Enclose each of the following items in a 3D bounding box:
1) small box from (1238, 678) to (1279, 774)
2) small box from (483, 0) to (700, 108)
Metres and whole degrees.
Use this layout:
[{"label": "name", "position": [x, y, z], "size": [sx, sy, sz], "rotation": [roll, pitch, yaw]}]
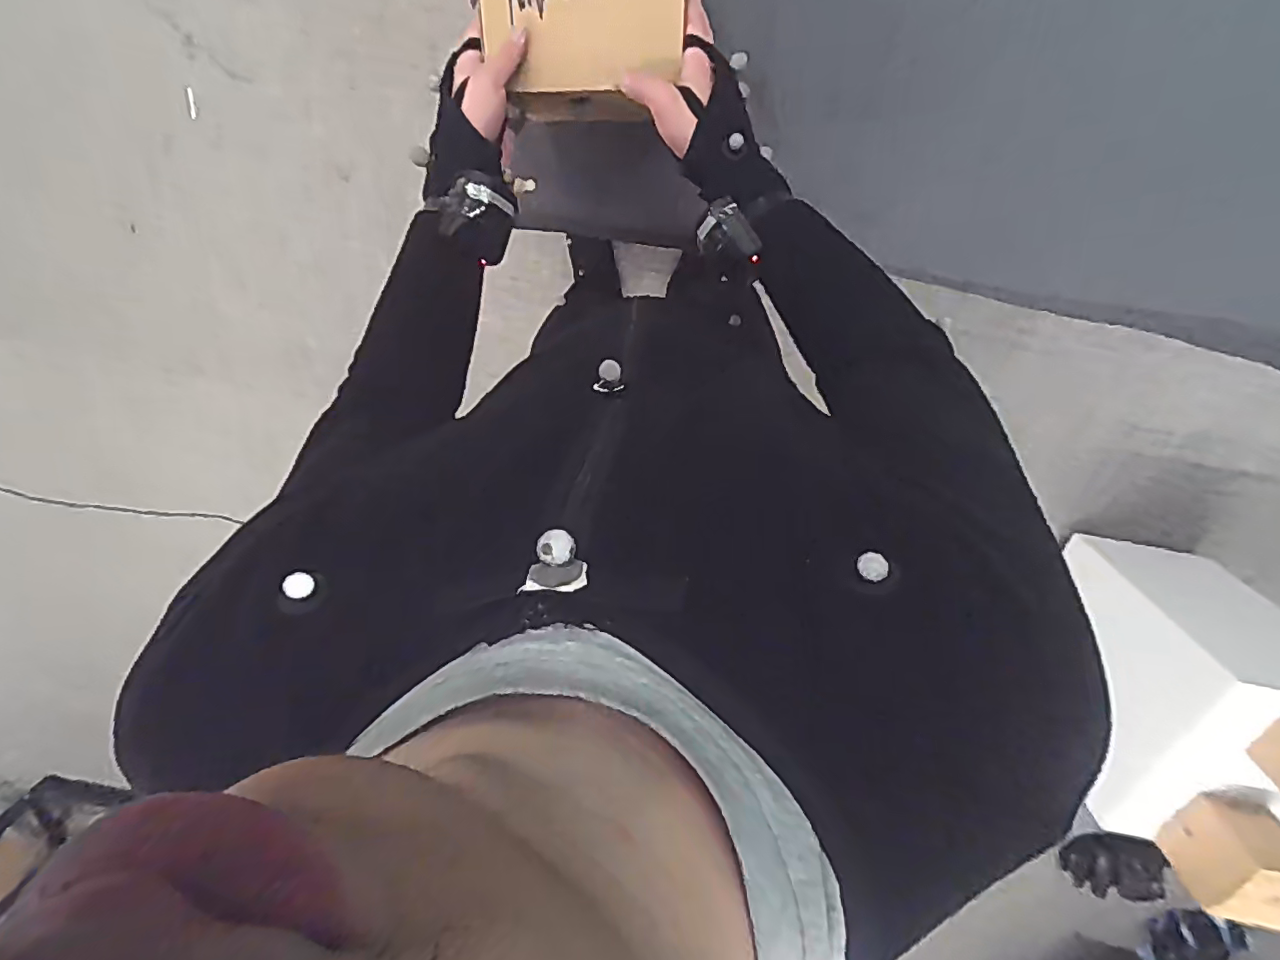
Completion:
[{"label": "small box", "position": [1.371, 0.517, 1.068], "size": [0.168, 0.176, 0.179], "rotation": [7, 117, -2]}, {"label": "small box", "position": [-0.036, -0.445, 0.483], "size": [0.179, 0.176, 0.168], "rotation": [1, 116, 2]}]
